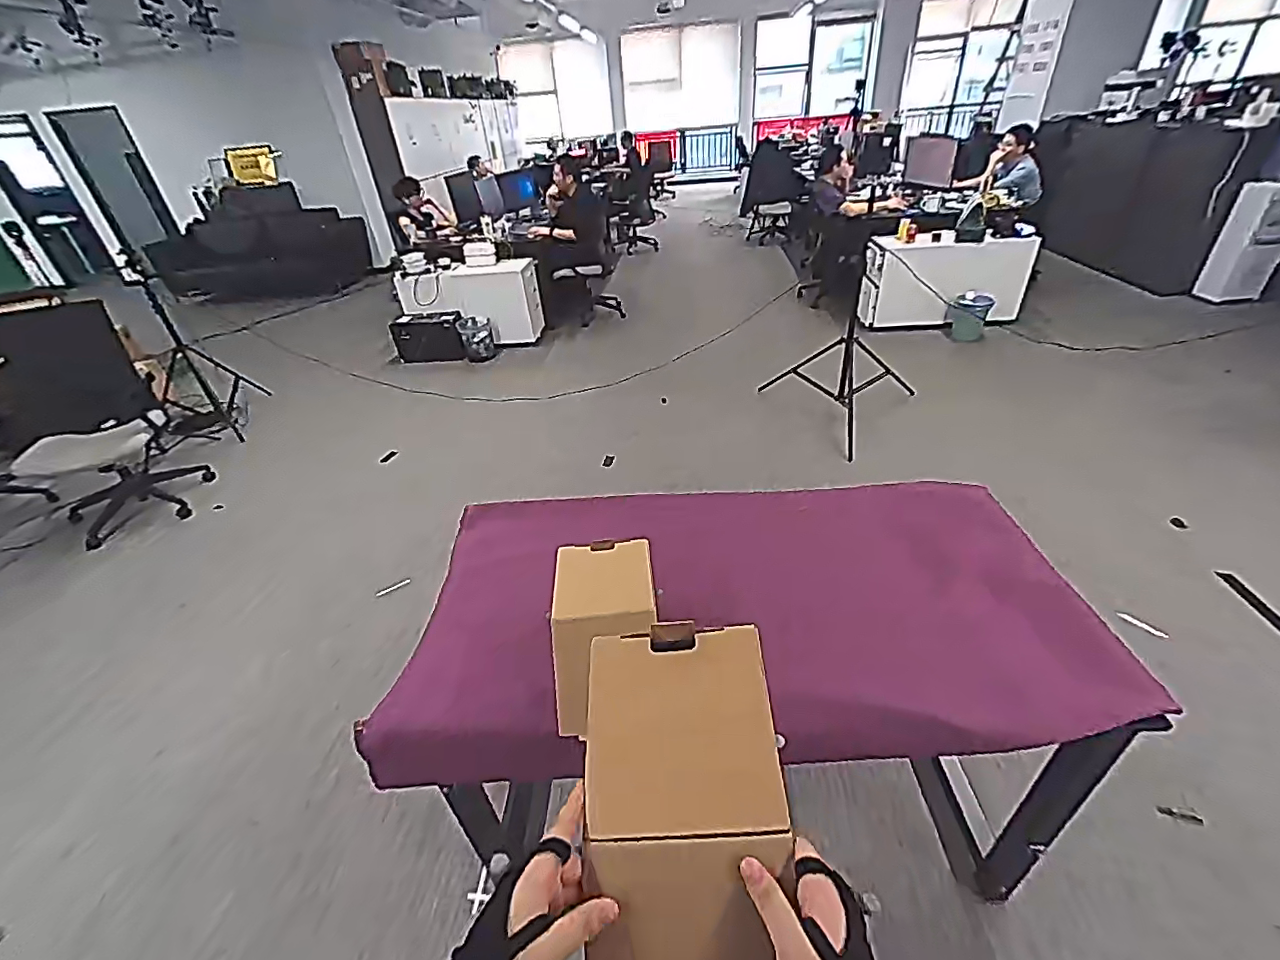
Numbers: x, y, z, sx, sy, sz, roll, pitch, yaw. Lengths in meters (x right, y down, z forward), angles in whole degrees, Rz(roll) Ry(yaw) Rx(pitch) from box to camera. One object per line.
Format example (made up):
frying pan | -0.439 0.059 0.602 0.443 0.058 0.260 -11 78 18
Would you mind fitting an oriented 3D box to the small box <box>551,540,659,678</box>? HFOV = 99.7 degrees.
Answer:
small box | -0.057 0.231 0.958 0.168 0.176 0.179 -5 33 -1
